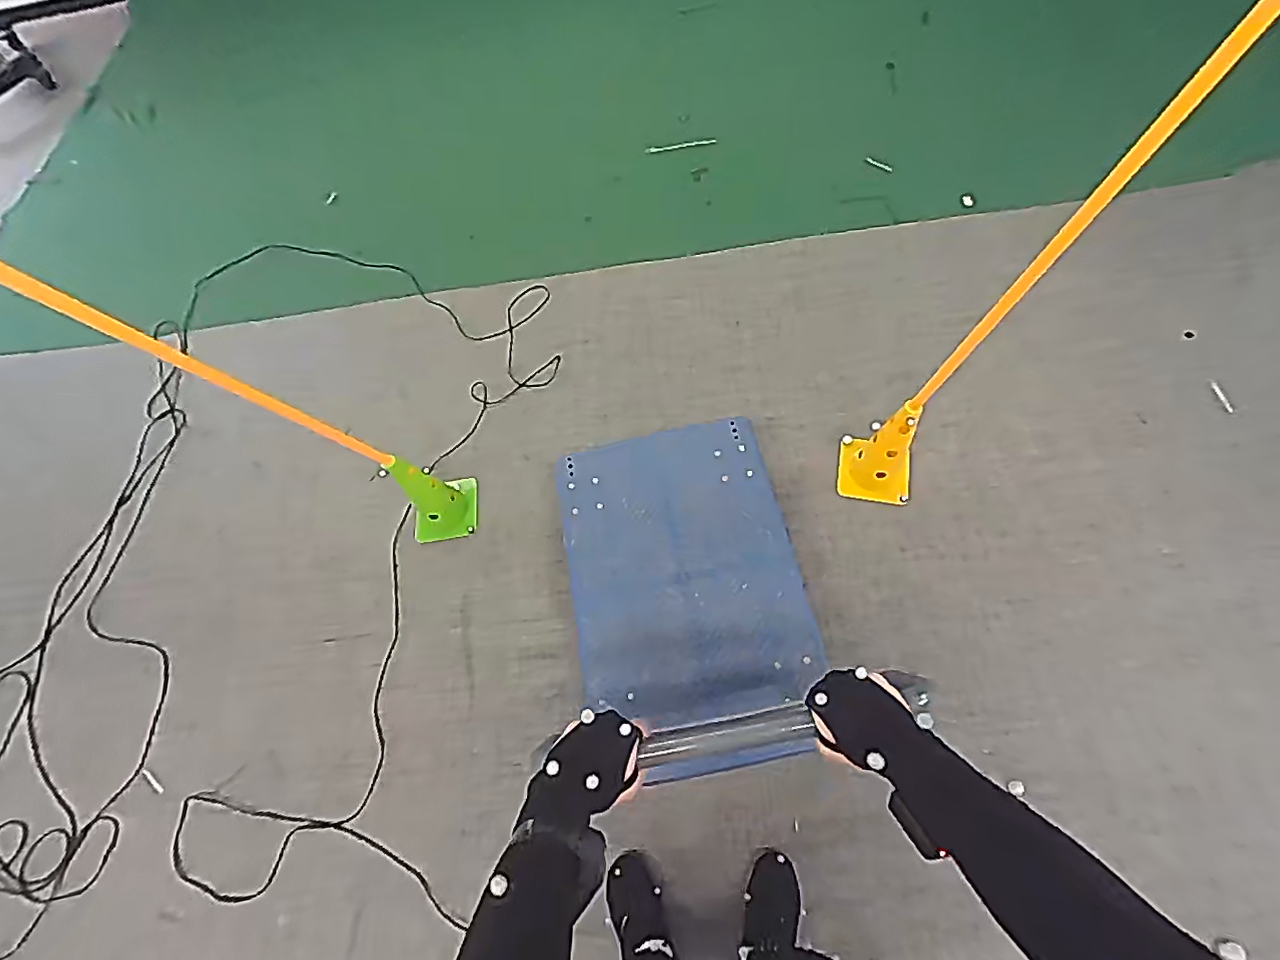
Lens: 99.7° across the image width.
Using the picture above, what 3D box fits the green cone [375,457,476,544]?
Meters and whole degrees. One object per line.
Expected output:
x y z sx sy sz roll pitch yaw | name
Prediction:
-0.643 0.027 1.570 0.202 0.368 0.200 -11 64 4 | green cone
